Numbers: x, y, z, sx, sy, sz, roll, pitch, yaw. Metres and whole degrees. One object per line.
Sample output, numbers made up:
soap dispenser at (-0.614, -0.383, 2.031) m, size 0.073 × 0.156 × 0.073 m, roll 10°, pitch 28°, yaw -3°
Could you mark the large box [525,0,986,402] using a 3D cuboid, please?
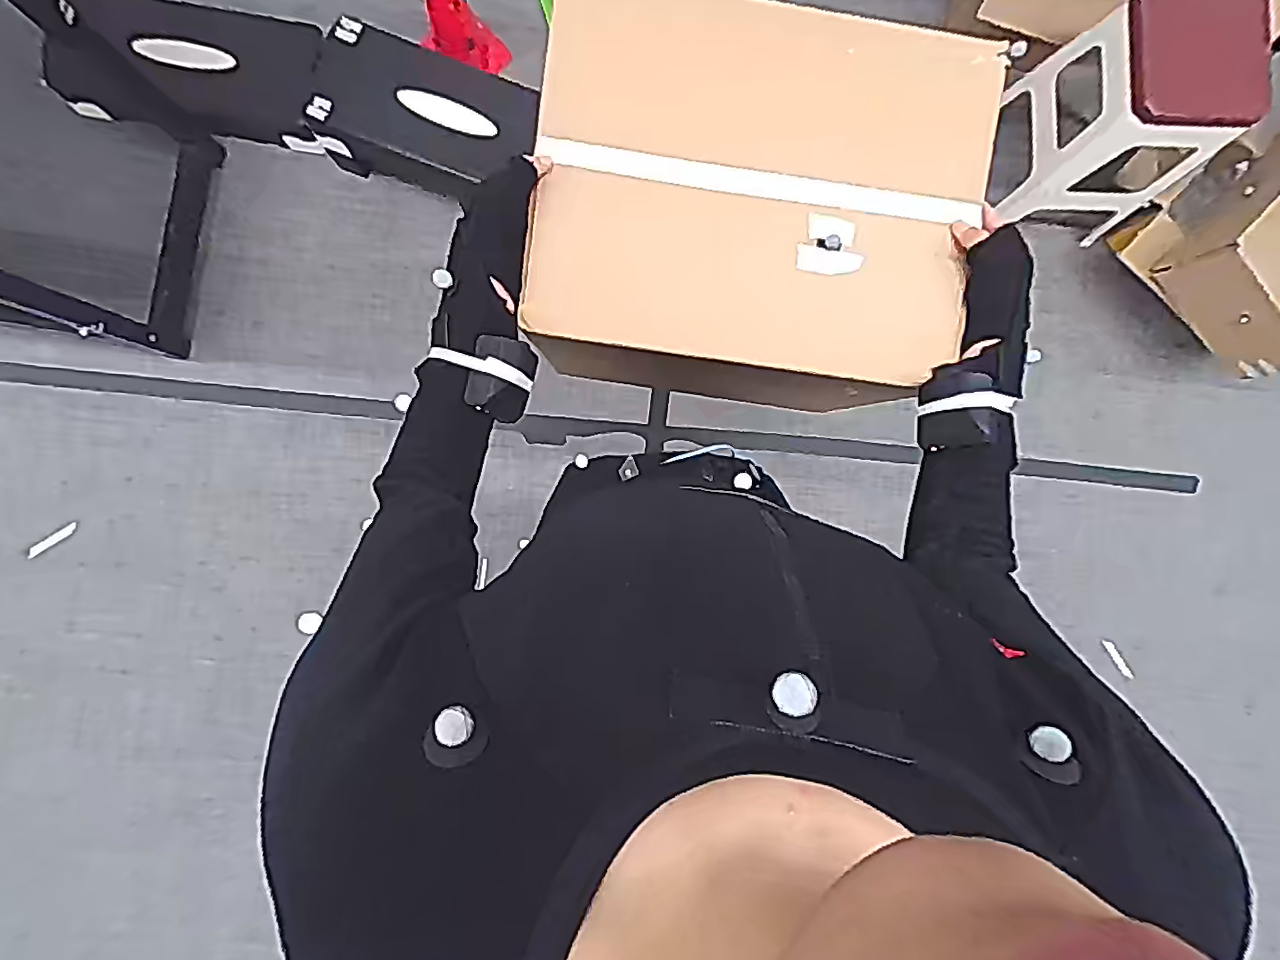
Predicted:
large box at (0.097, -0.280, 0.644) m, size 0.408 × 0.320 × 0.320 m, roll 8°, pitch 95°, yaw -4°
